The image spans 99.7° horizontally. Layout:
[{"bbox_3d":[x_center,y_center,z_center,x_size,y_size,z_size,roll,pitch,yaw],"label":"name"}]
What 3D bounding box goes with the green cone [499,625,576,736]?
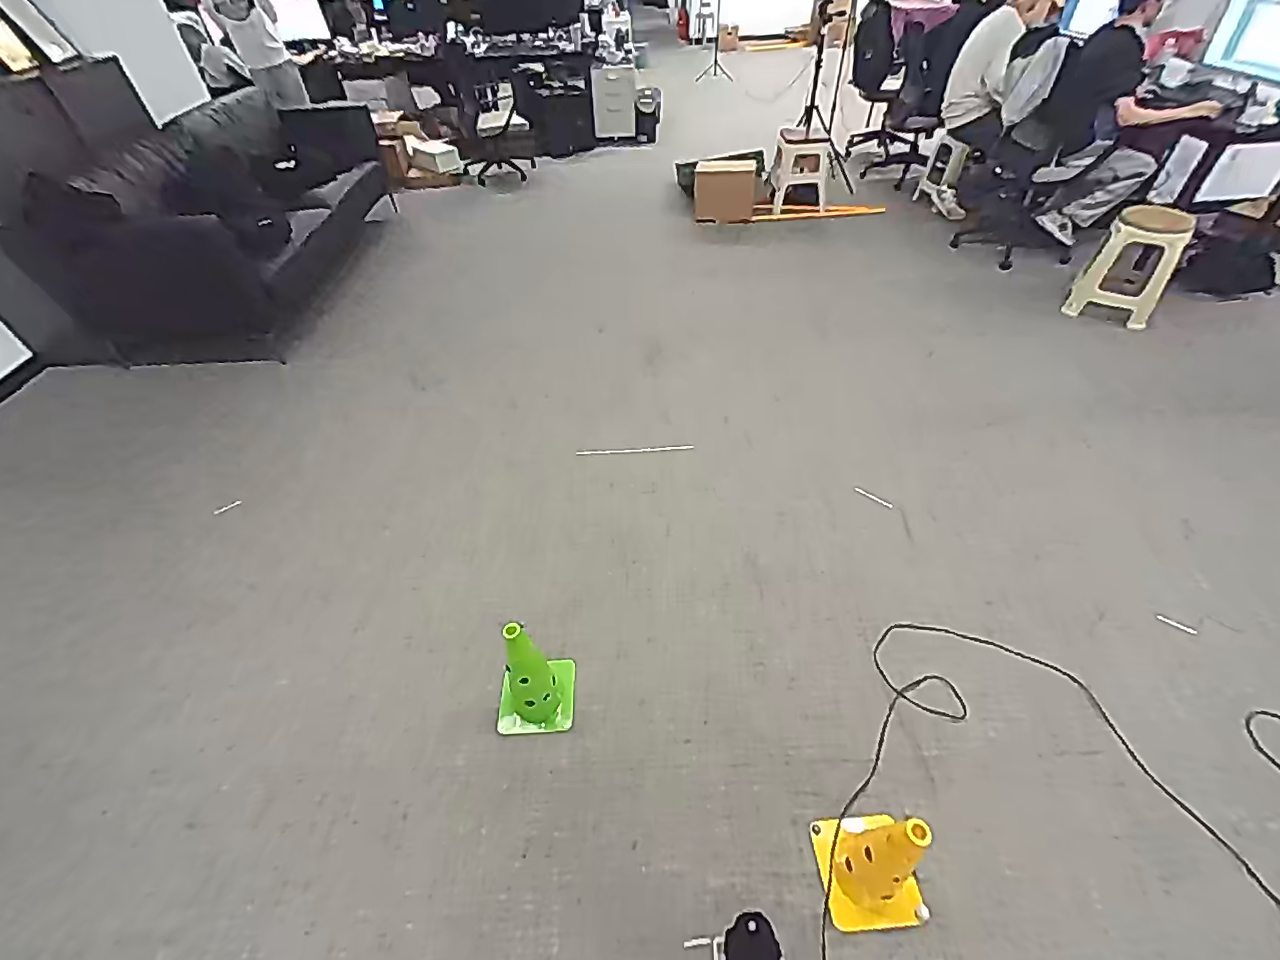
[{"bbox_3d":[-0.282,0.479,1.368,0.202,0.368,0.200,-3,46,-1],"label":"green cone"}]
